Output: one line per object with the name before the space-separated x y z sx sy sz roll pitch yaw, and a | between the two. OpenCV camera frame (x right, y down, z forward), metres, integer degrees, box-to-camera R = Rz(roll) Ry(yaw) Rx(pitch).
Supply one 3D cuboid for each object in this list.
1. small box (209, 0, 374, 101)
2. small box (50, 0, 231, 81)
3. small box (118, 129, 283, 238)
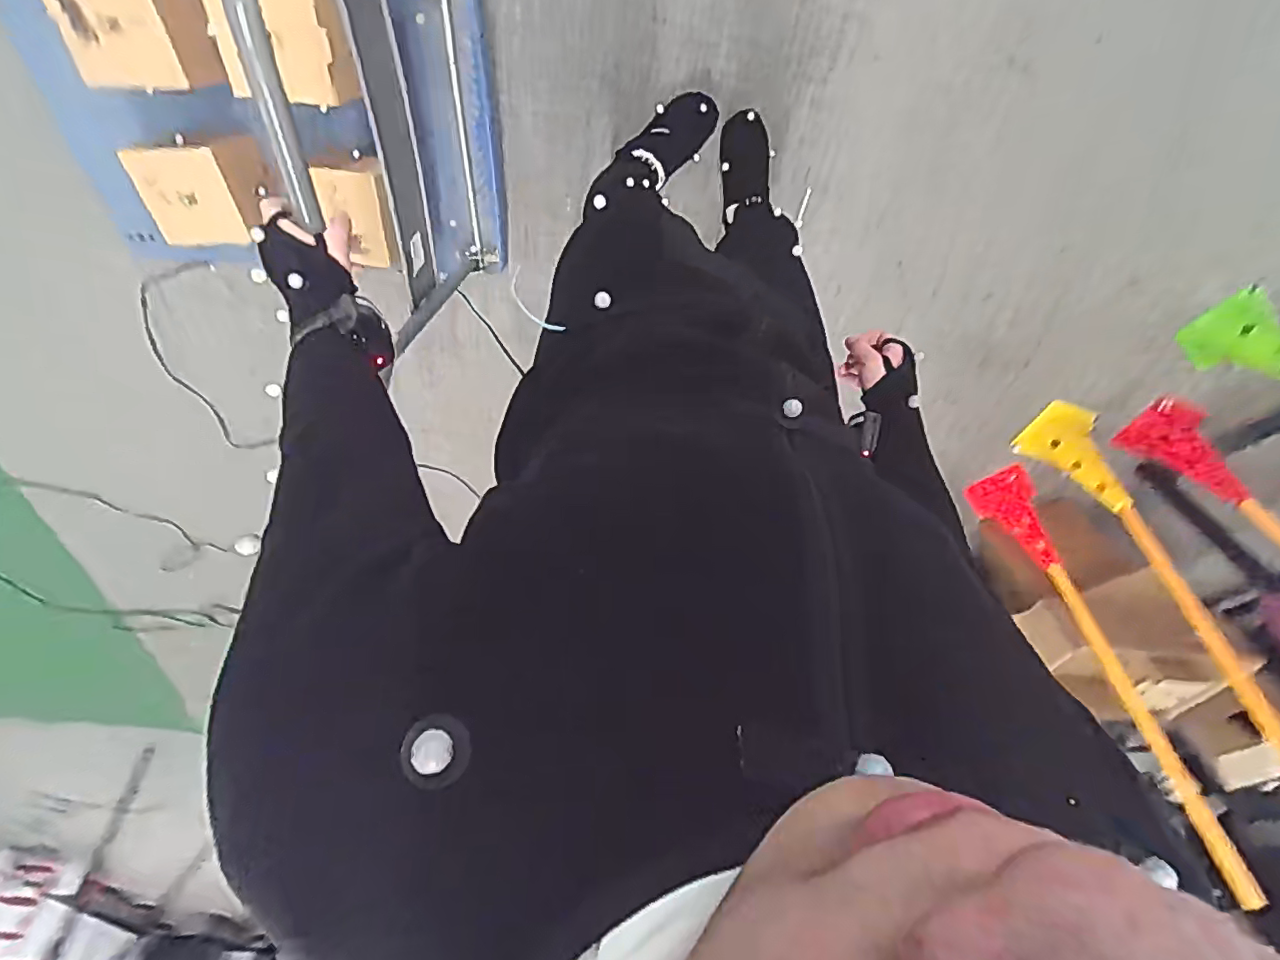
small box | -0.596 -0.775 0.938 0.179 0.176 0.168 4 130 -3
small box | -0.843 -0.792 0.920 0.179 0.176 0.168 1 131 -2
small box | -0.859 -0.597 1.086 0.179 0.176 0.168 0 130 0
